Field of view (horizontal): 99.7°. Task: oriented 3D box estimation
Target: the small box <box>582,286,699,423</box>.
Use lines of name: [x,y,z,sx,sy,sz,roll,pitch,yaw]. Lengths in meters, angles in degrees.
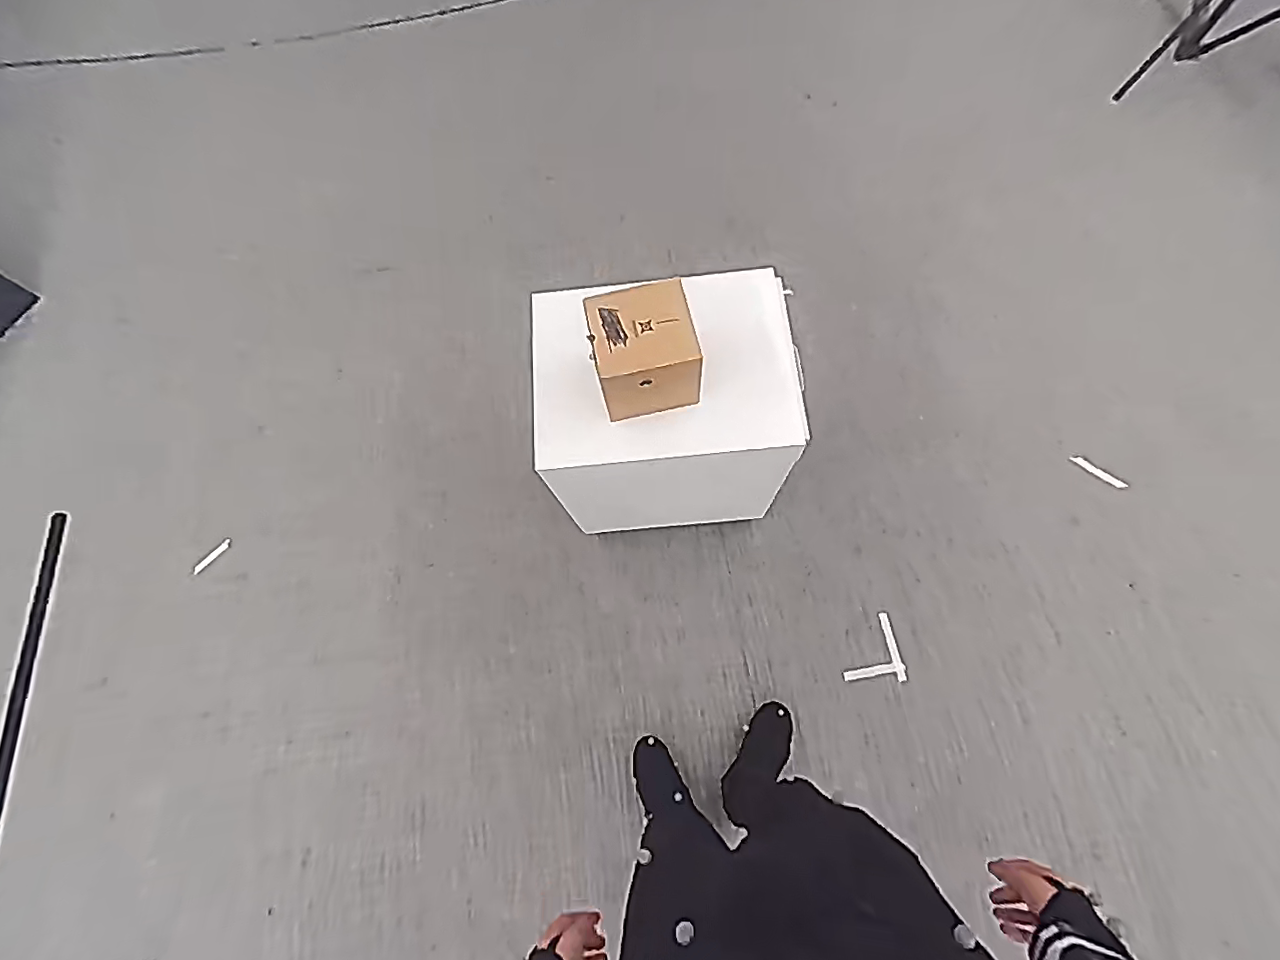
small box: [0.005,-0.220,0.987,0.179,0.176,0.168,-12,71,-1]
